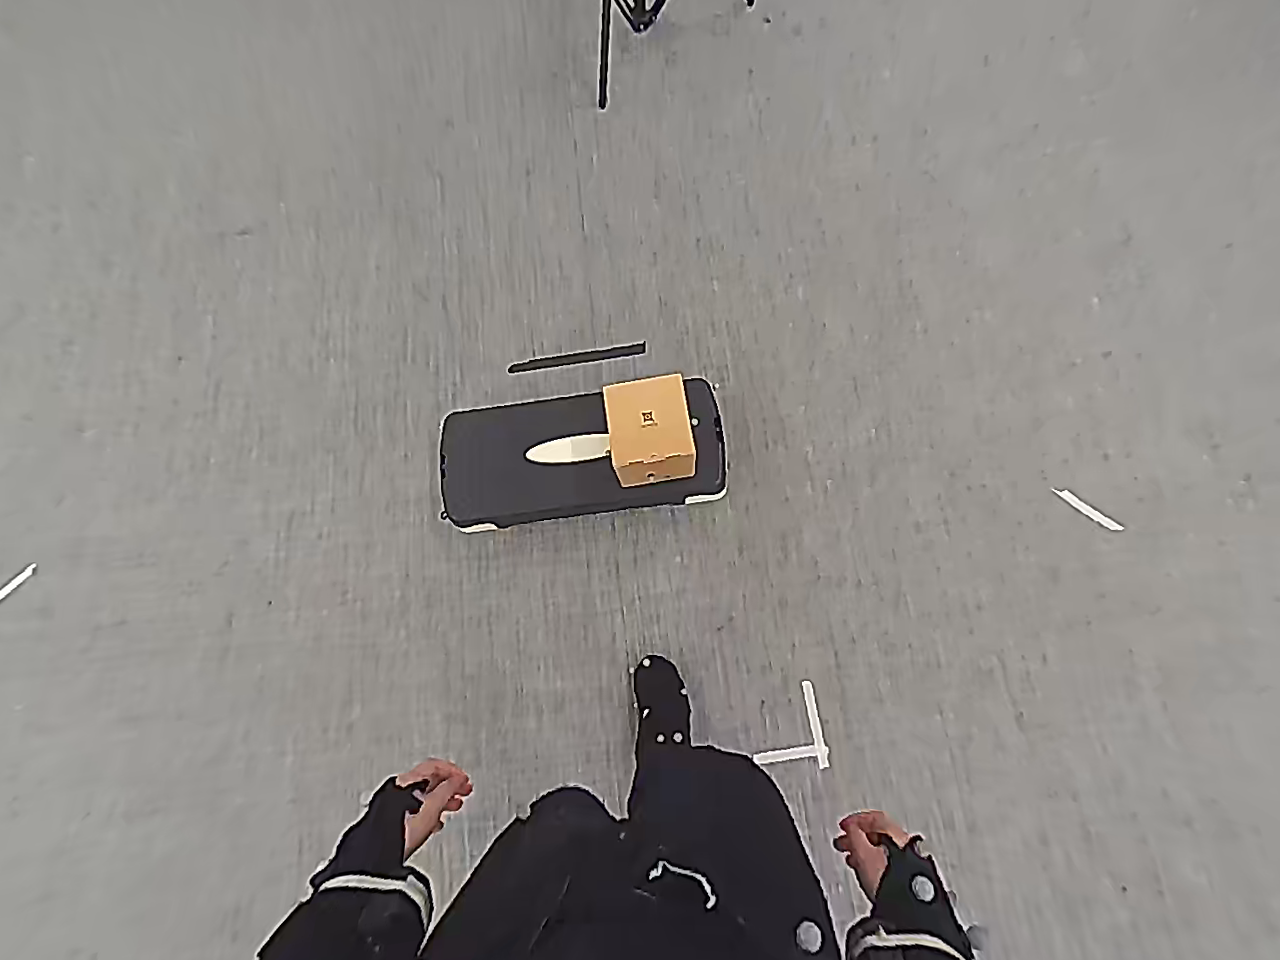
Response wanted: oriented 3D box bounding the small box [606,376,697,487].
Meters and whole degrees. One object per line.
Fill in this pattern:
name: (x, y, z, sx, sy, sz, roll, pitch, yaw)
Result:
small box: (0.024, -0.098, 1.157, 0.168, 0.176, 0.179, -9, 76, 2)
